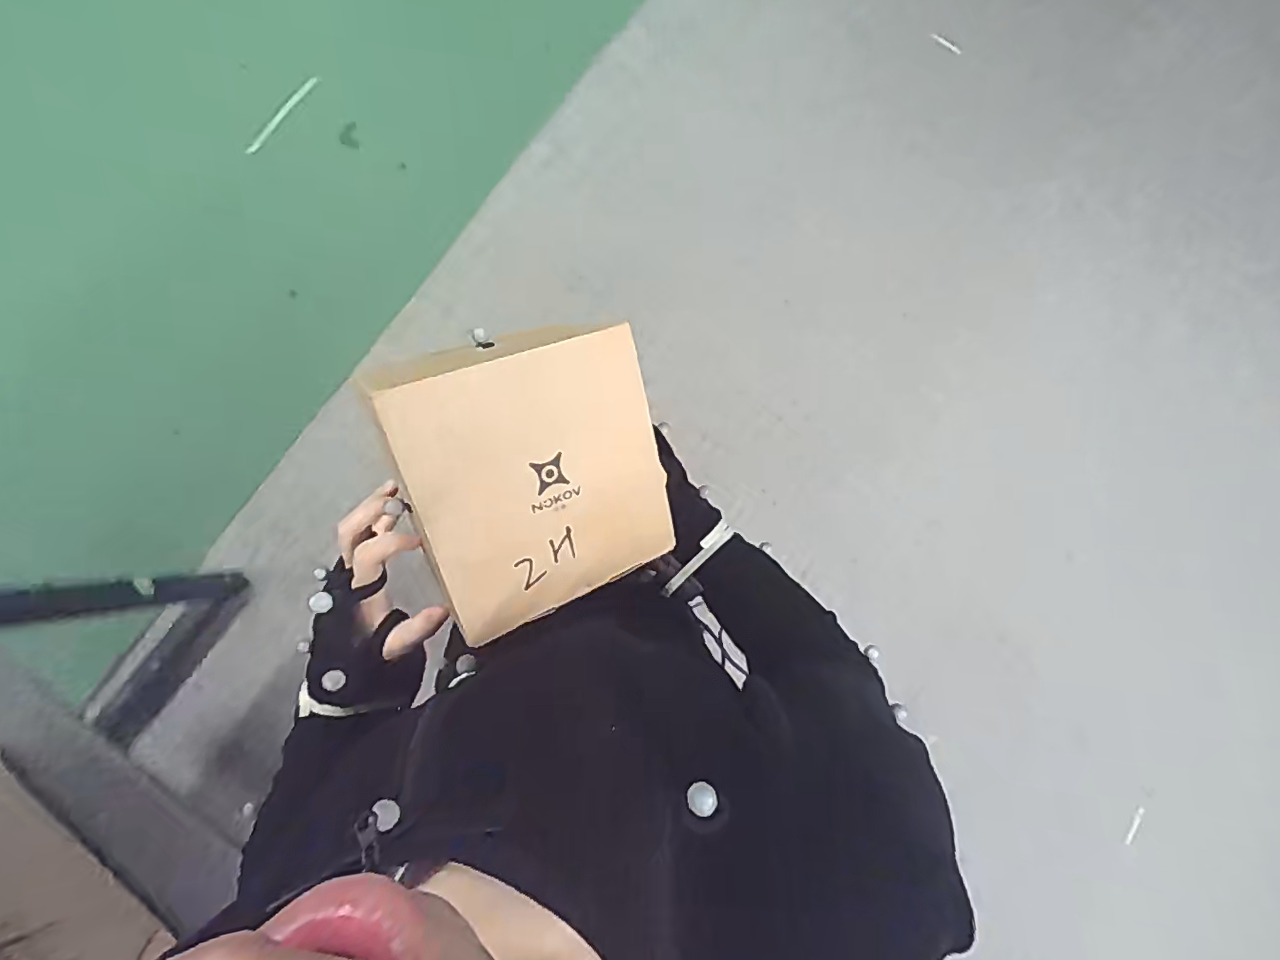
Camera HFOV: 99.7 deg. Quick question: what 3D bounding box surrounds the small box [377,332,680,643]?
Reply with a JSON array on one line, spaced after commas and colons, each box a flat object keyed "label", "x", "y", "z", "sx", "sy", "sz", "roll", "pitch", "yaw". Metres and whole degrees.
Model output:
[{"label": "small box", "x": -0.092, "y": -0.013, "z": 0.429, "sx": 0.168, "sy": 0.176, "sz": 0.179, "roll": -21, "pitch": 114, "yaw": -24}]
